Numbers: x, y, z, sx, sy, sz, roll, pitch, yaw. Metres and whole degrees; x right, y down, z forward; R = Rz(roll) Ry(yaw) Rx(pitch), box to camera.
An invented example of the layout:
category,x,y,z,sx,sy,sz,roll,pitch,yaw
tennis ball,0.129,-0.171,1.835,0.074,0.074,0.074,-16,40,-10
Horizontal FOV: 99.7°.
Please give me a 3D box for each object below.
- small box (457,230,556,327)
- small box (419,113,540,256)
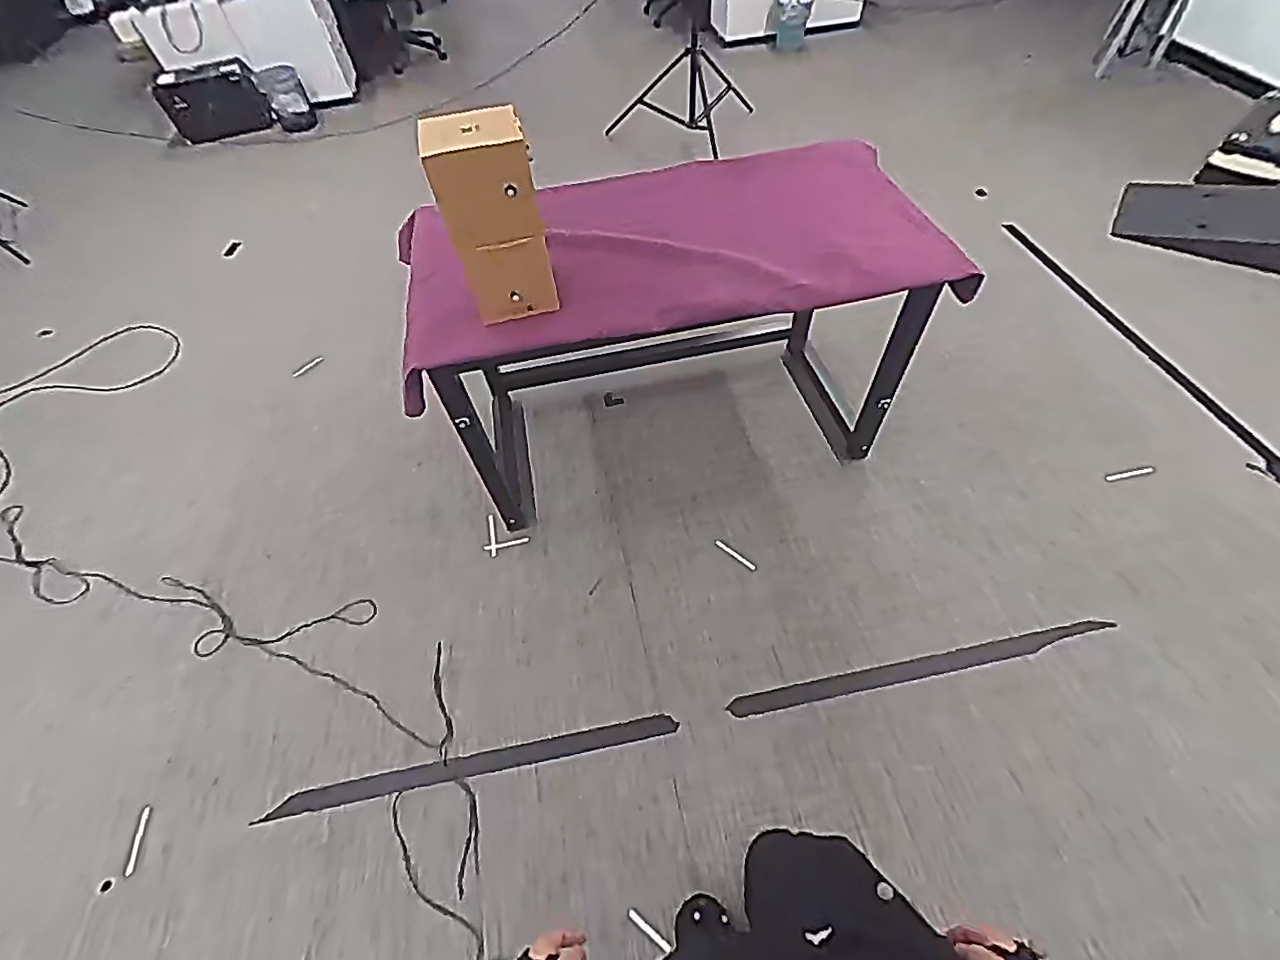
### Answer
category,x,y,z,sx,sy,sz,roll,pitch,yaw
small box,-0.281,-0.453,1.139,0.168,0.176,0.179,-14,55,-5
small box,-0.292,-0.547,1.008,0.179,0.176,0.168,-15,53,-6
